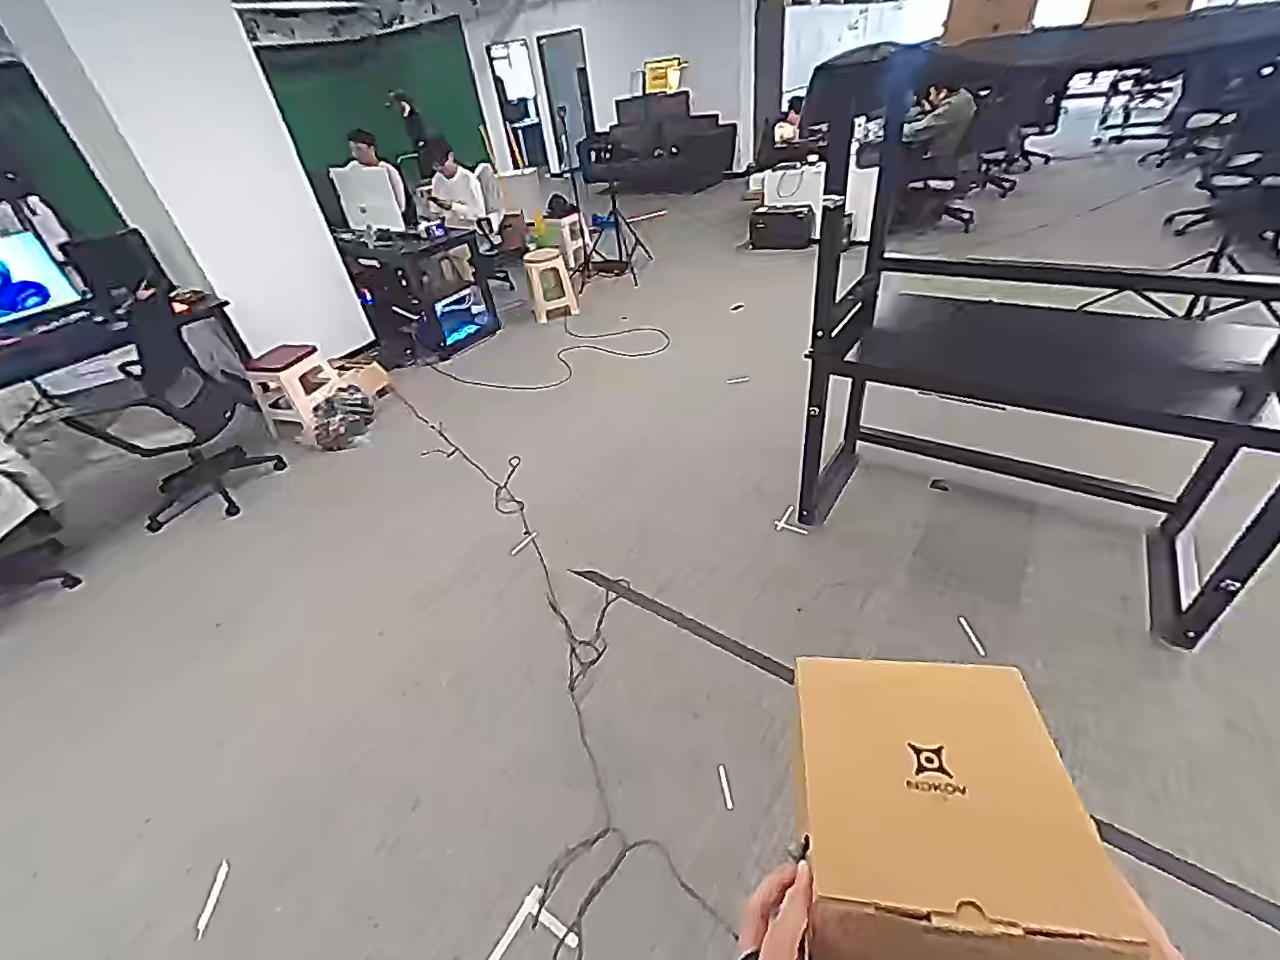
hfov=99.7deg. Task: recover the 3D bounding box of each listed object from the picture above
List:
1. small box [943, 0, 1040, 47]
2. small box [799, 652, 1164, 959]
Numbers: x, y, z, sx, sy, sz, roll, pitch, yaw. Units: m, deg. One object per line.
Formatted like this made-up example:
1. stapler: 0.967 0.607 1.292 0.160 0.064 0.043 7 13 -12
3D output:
1. small box: 0.765 -1.046 1.159 0.168 0.176 0.179 16 42 27
2. small box: 0.207 0.254 0.395 0.168 0.176 0.179 -1 31 13
